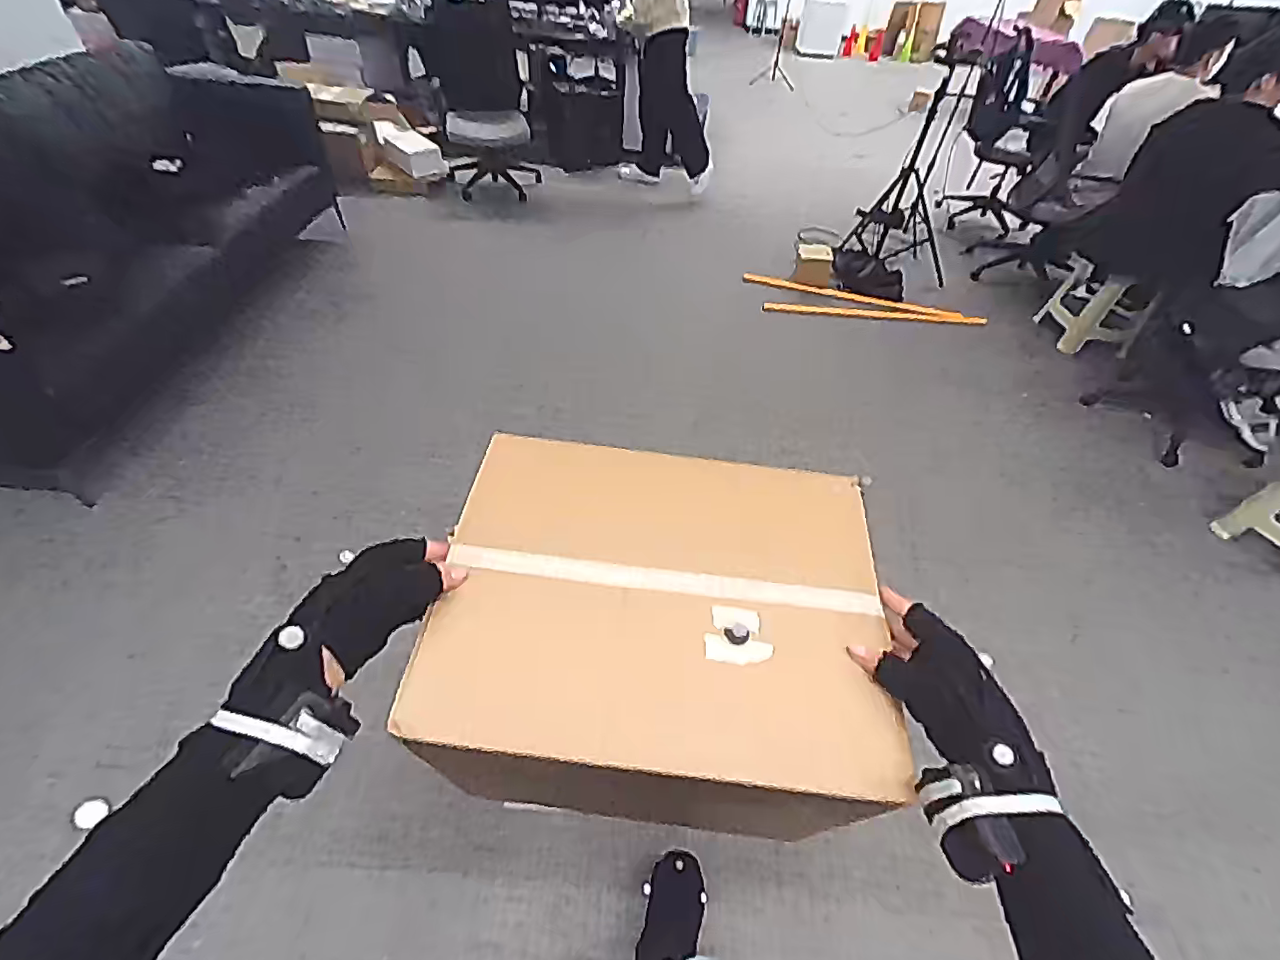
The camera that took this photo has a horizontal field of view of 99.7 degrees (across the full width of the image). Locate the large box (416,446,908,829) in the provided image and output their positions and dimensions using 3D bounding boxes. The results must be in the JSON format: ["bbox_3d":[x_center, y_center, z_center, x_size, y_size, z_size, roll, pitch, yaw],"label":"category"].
[{"bbox_3d":[0.017,0.193,0.633,0.408,0.320,0.320,7,52,0],"label":"large box"}]
